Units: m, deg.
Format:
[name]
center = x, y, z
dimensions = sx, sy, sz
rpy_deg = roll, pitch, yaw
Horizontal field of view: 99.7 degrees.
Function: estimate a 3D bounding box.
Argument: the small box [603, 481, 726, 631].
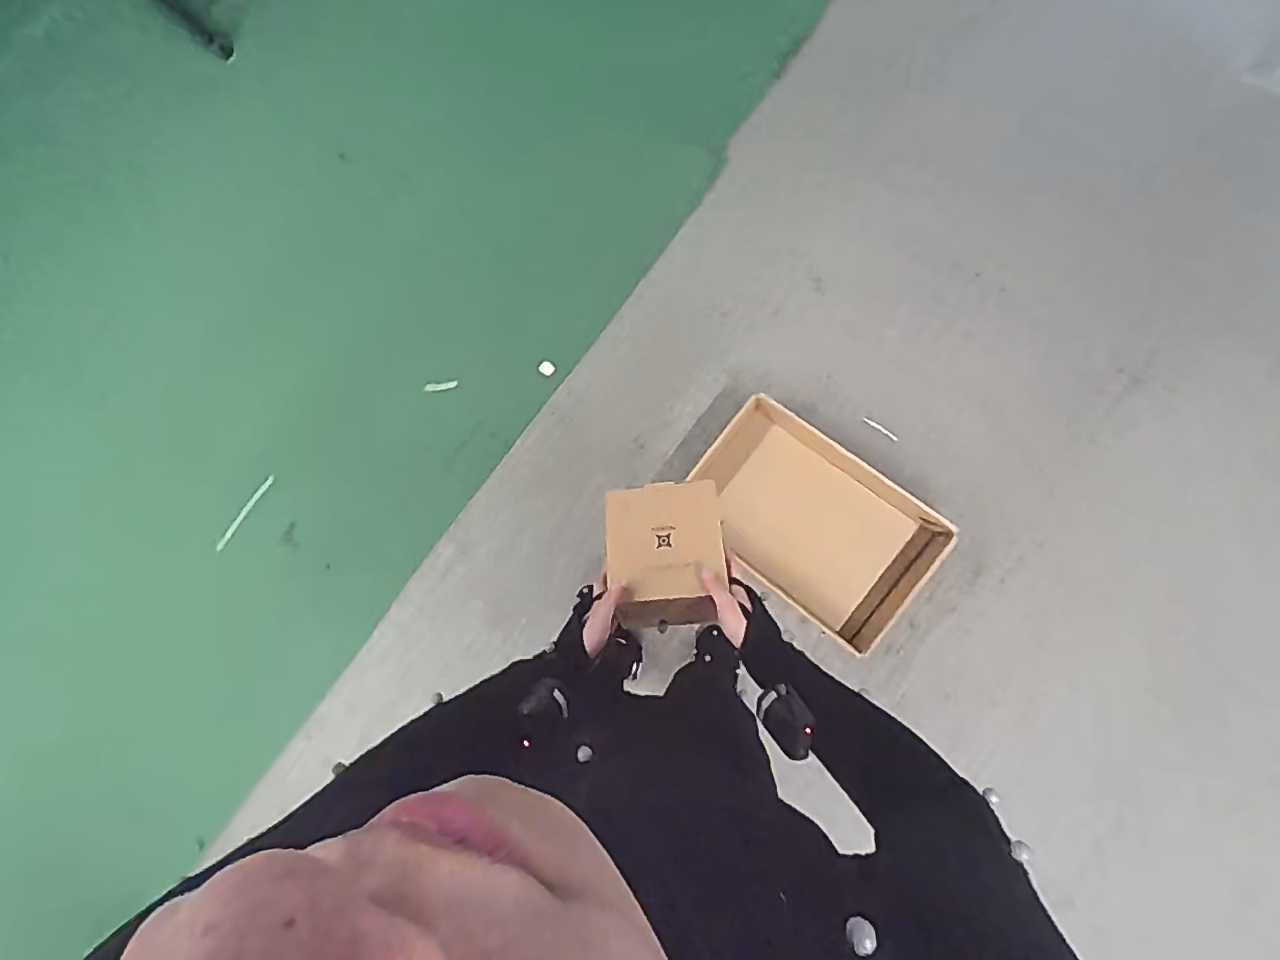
[small box]
center = 0.036, 0.121, 0.826
dimensions = 0.168, 0.176, 0.179
rpy_deg = -6, 62, 4
